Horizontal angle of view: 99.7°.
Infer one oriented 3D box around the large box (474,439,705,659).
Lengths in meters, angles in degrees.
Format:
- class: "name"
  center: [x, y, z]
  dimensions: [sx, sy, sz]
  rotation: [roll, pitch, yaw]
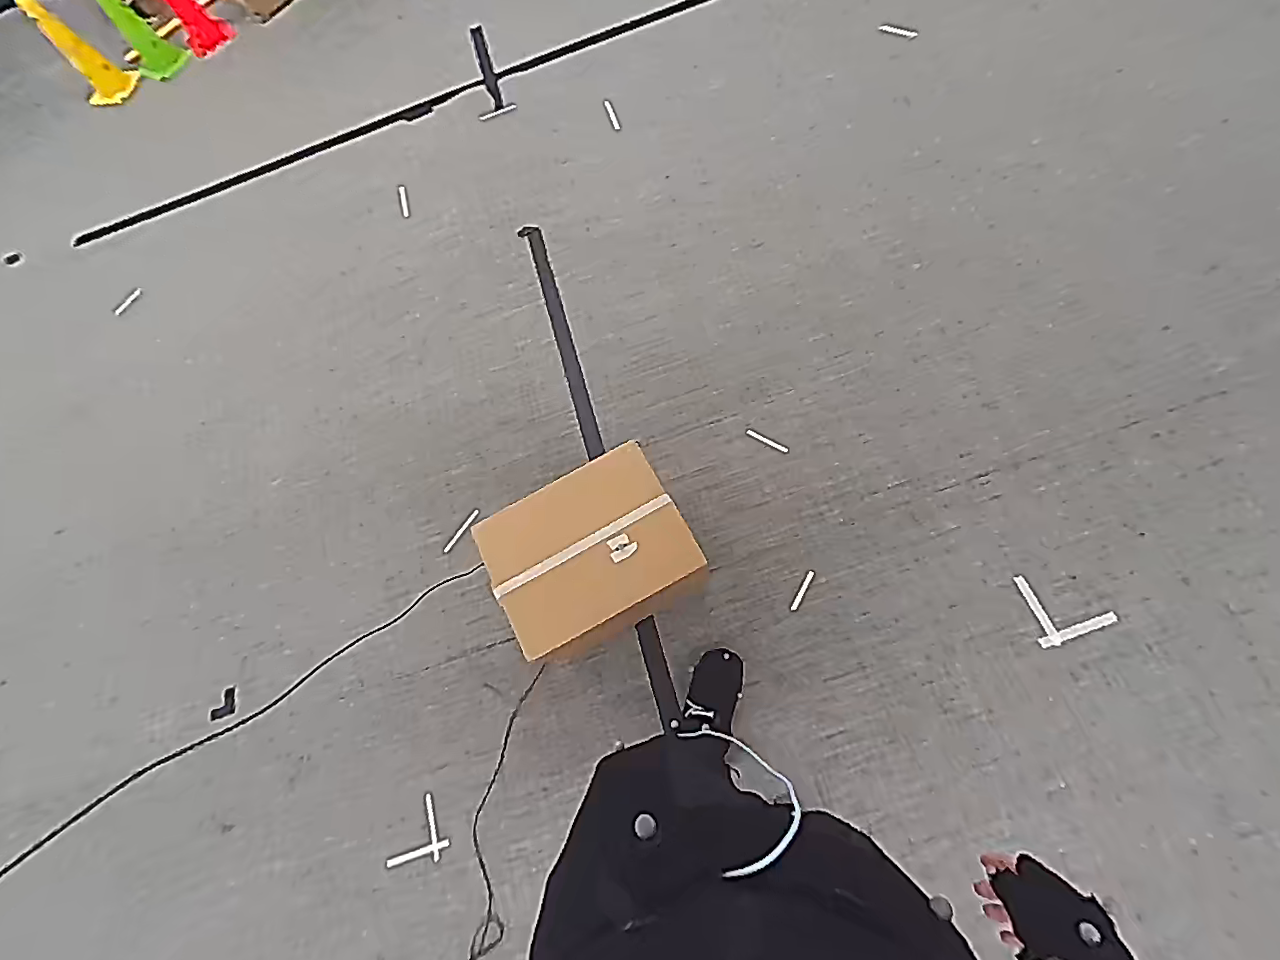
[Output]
- class: "large box"
  center: [-0.097, 0.177, 1.249]
  dimensions: [0.408, 0.320, 0.320]
  rotation: [-28, 71, -3]
